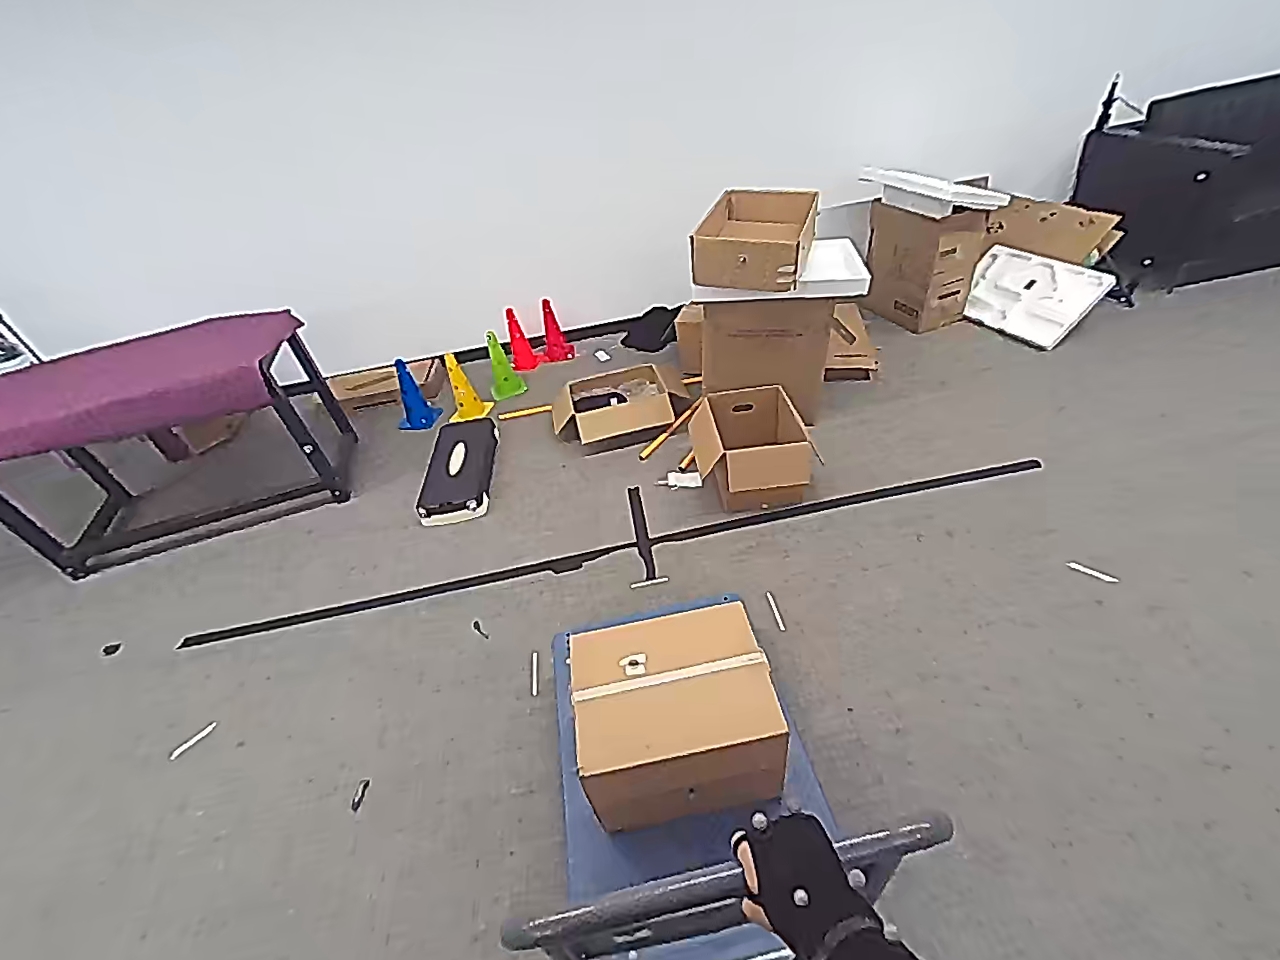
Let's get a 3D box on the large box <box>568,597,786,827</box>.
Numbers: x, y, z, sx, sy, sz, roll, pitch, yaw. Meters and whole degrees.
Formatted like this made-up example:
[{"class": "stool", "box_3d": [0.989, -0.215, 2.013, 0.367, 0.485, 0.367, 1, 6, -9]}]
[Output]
[{"class": "large box", "box_3d": [0.078, 0.516, 1.208, 0.408, 0.320, 0.320, -12, 39, -2]}]
